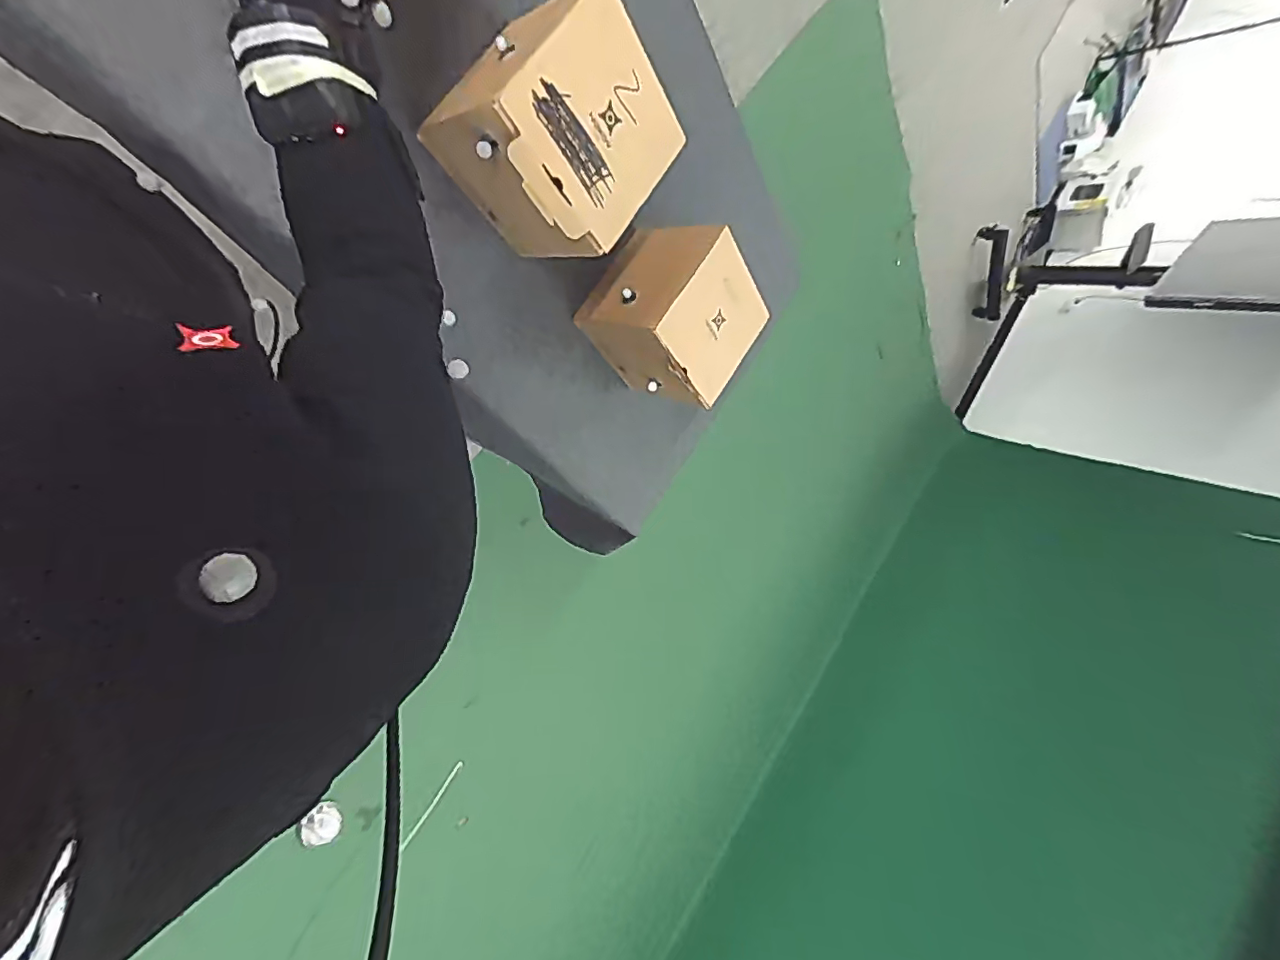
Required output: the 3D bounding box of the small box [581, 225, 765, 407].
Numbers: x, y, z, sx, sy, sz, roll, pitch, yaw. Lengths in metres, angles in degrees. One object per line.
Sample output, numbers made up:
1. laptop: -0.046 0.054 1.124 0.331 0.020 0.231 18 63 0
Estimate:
1. small box: 0.042 -0.232 0.768 0.179 0.176 0.168 -58 138 -11
